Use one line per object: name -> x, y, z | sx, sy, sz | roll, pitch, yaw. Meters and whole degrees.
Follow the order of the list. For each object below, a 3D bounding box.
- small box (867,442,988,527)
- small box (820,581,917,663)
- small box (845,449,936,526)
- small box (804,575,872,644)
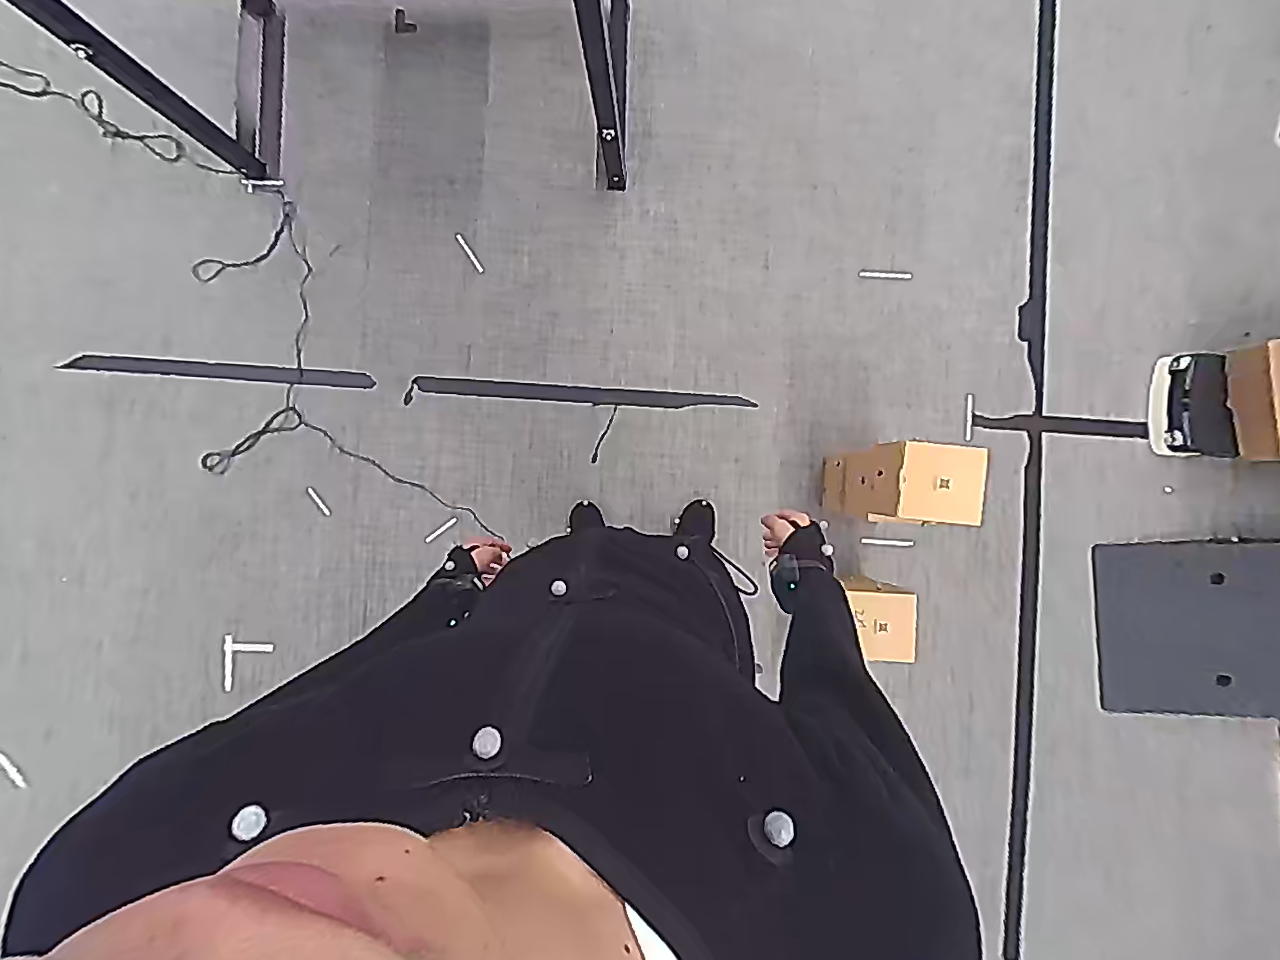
small box -> 0.633, 0.008, 1.207 | 0.179, 0.176, 0.168 | 5, 91, 3
small box -> 0.575, 0.353, 1.373 | 0.179, 0.176, 0.168 | 3, 89, 2
small box -> 0.632, 0.017, 1.369 | 0.168, 0.176, 0.179 | 3, 91, 2
small box -> 0.578, 0.366, 1.538 | 0.179, 0.176, 0.168 | 1, 89, 3
